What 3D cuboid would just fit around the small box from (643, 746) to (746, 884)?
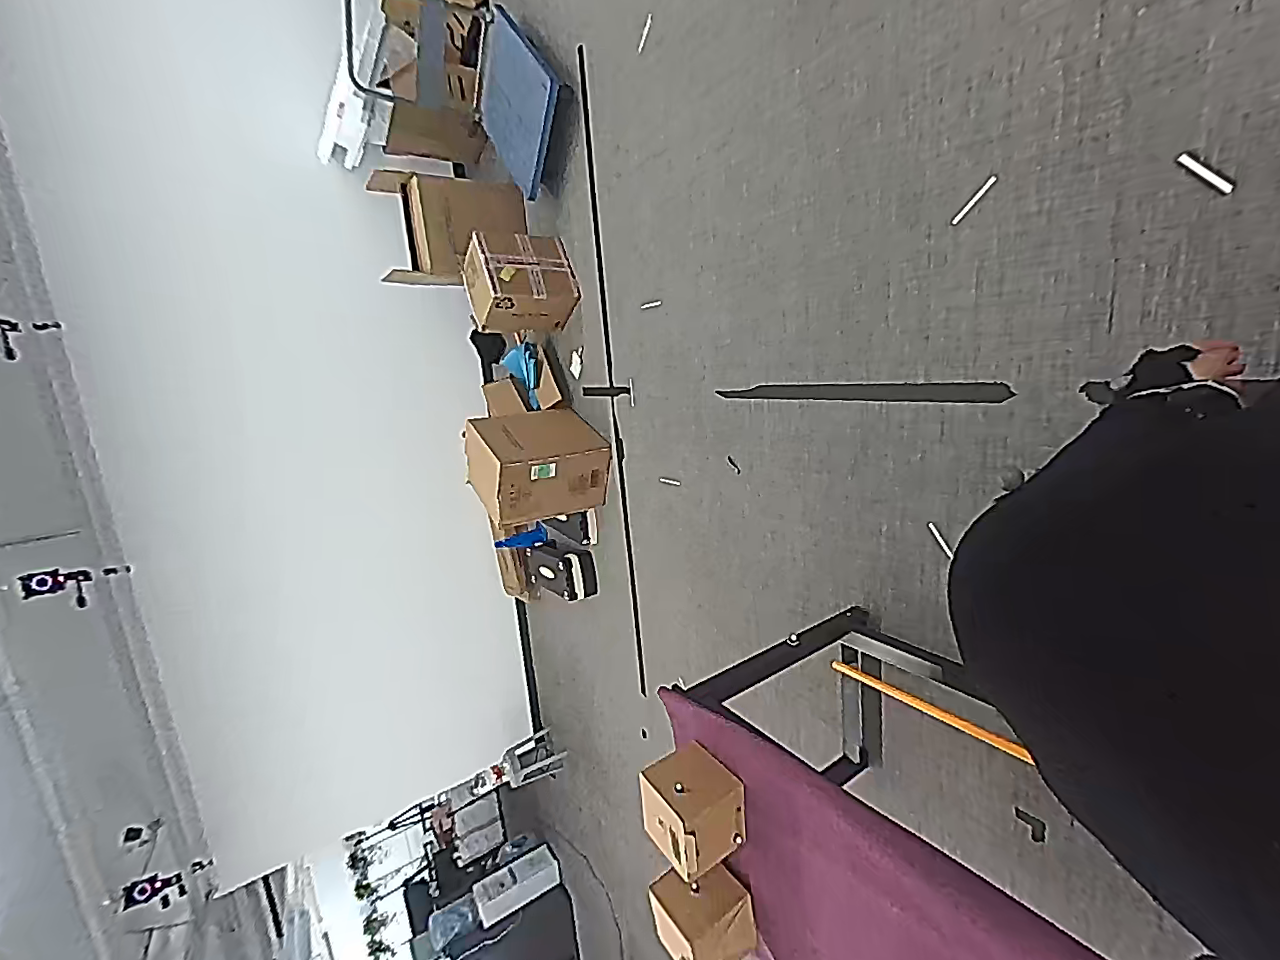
[{"bbox_3d":[0.128,0.750,1.236,0.179,0.176,0.168,17,116,56],"label":"small box"}]
